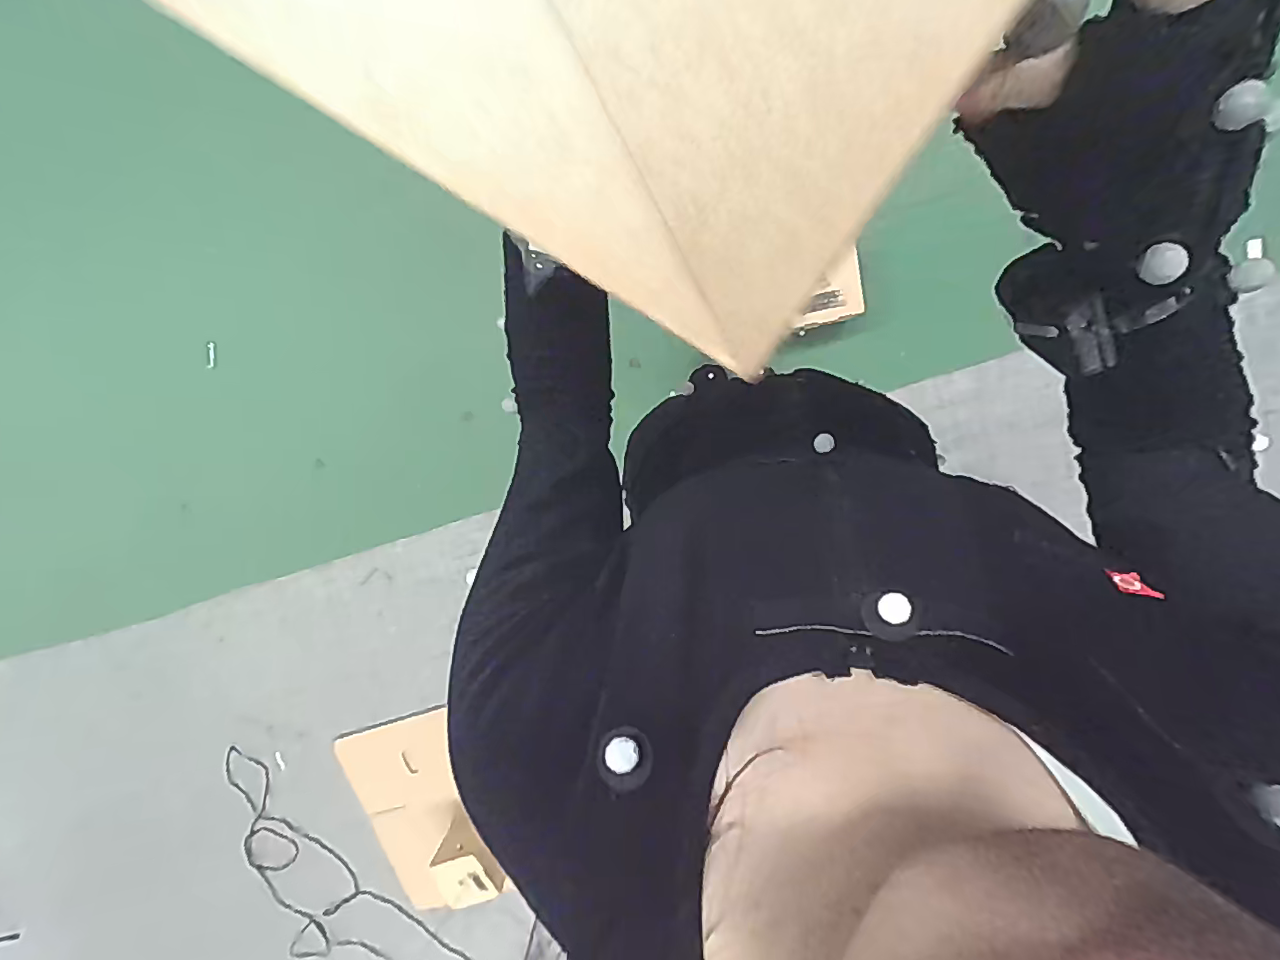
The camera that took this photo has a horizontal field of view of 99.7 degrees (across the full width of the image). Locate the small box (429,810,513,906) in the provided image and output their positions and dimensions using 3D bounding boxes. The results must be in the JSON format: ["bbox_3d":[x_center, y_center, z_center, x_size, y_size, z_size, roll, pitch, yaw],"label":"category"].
[{"bbox_3d":[-0.522,1.189,1.713,0.179,0.176,0.168,-24,98,11],"label":"small box"}]

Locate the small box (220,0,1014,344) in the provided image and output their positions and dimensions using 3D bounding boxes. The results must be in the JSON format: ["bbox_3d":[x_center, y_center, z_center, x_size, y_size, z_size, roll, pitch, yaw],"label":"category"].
[{"bbox_3d":[0.010,-0.168,0.136,0.179,0.176,0.168,30,133,-1],"label":"small box"}]
